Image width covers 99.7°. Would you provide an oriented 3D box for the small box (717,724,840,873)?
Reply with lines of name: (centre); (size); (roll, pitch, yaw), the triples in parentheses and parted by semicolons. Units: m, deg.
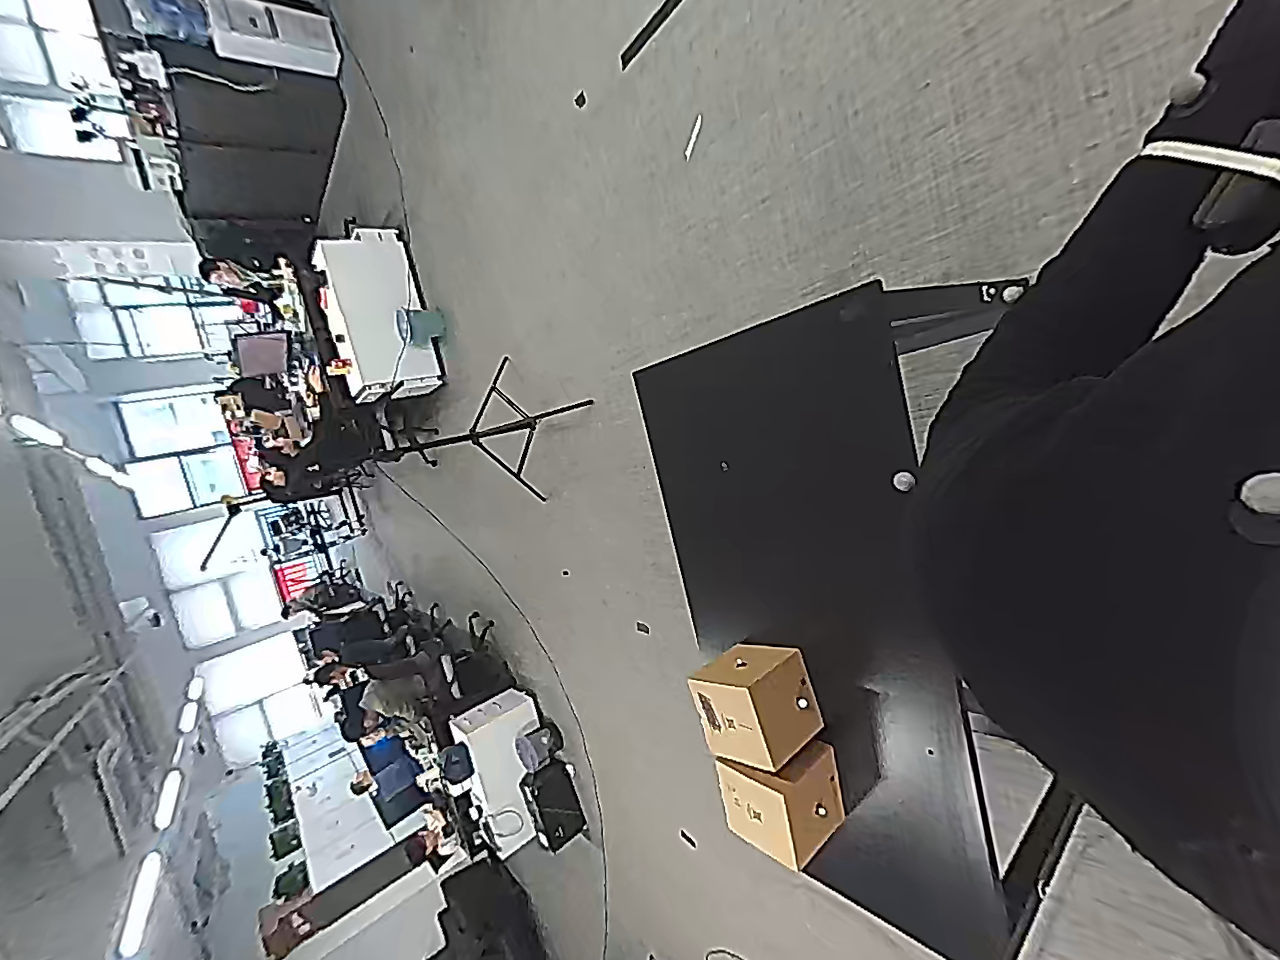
small box: (0.286, 0.628, 1.096); (0.179, 0.176, 0.168); (-2, 101, 53)
